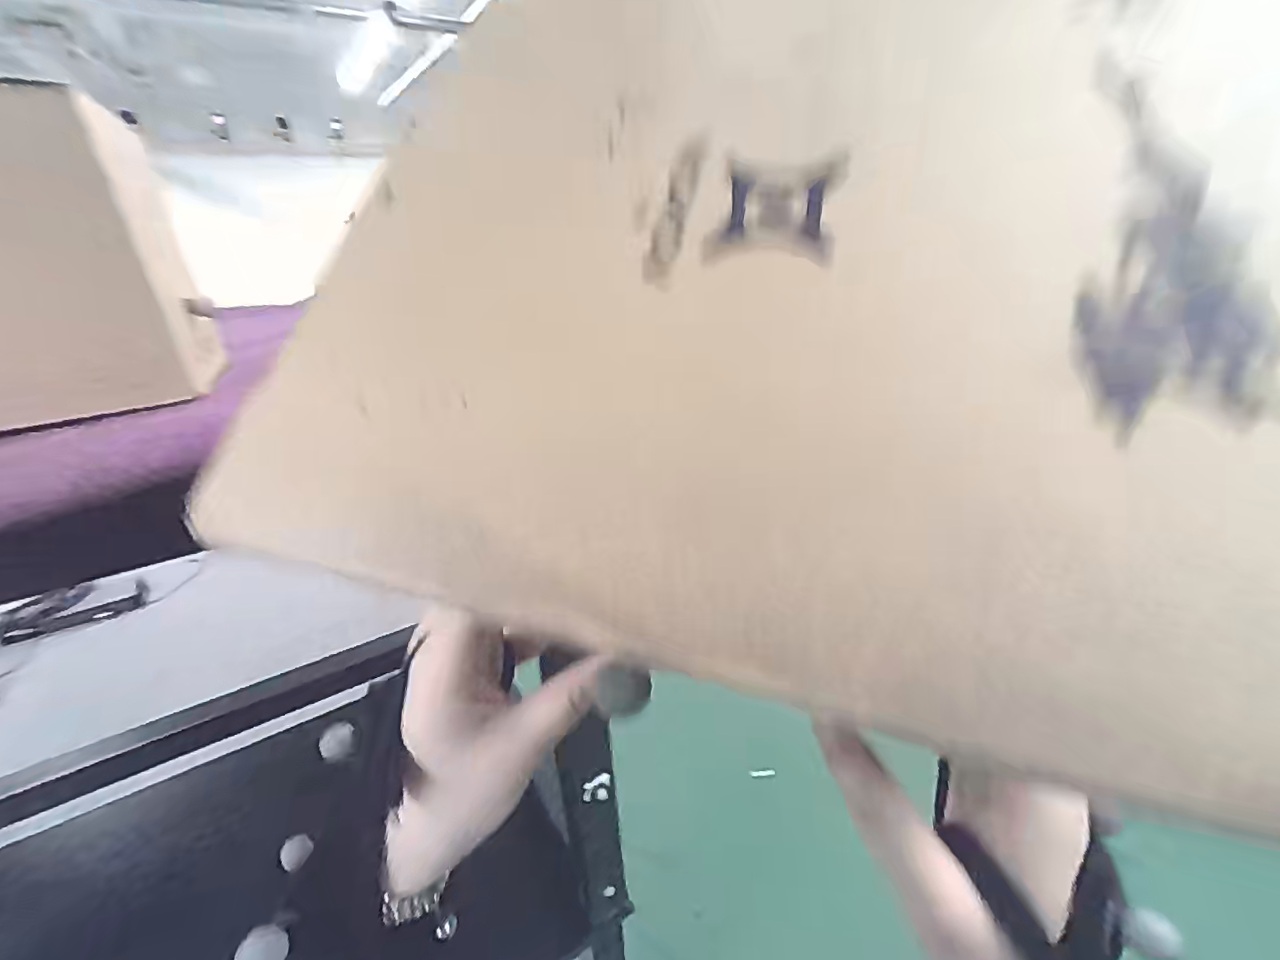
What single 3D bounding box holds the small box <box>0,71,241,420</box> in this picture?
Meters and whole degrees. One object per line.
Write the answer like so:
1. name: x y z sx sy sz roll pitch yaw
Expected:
1. small box: -0.389 -0.135 0.340 0.179 0.176 0.168 -16 27 -27
